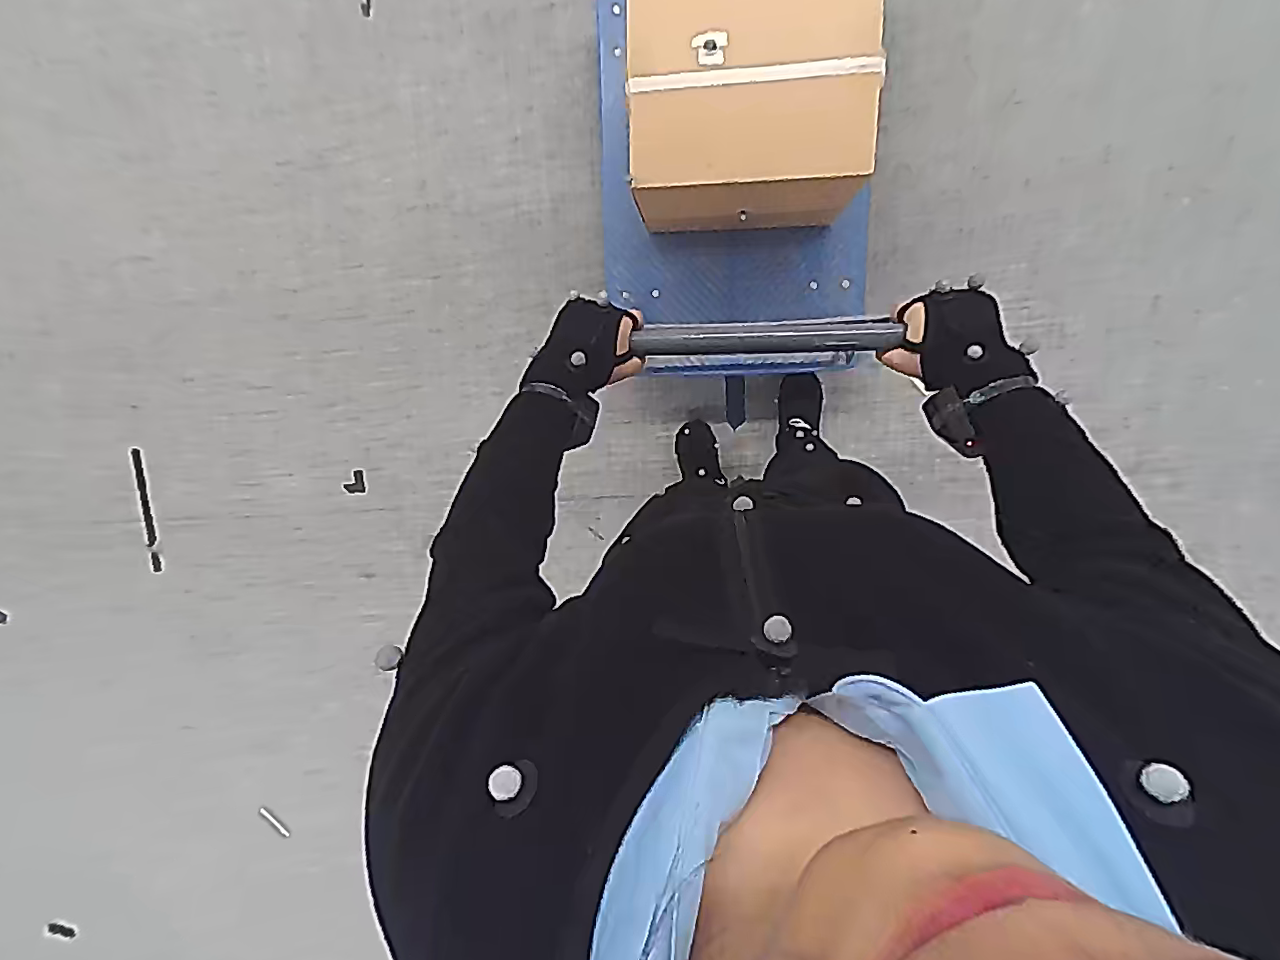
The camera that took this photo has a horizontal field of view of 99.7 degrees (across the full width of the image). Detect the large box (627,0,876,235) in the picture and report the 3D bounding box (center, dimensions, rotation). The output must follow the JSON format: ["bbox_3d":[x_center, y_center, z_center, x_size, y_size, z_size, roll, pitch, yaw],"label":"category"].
[{"bbox_3d":[0.201,-0.680,1.041,0.408,0.320,0.320,0,100,8],"label":"large box"}]
